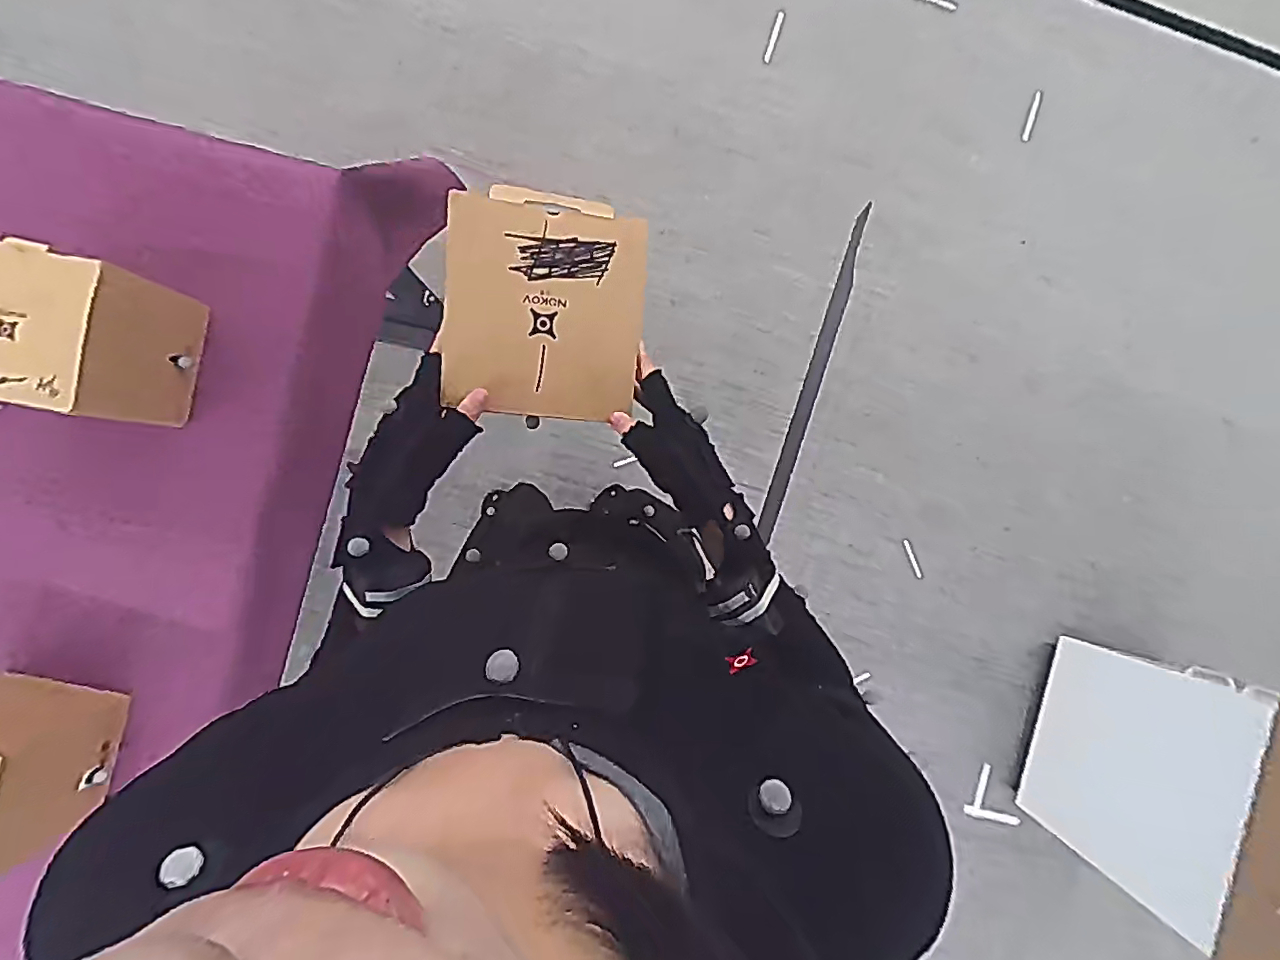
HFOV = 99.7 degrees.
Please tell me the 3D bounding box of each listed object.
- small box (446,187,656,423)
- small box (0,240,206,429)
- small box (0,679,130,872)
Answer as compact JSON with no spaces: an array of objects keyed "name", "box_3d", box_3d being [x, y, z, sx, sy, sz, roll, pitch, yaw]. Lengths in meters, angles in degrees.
[{"name":"small box","box_3d":[-0.088,-0.153,0.533,0.168,0.176,0.179,4,97,-11]},{"name":"small box","box_3d":[-0.691,-0.170,0.670,0.168,0.176,0.179,11,89,-3]},{"name":"small box","box_3d":[-0.799,0.362,0.660,0.179,0.176,0.168,12,90,-4]}]
